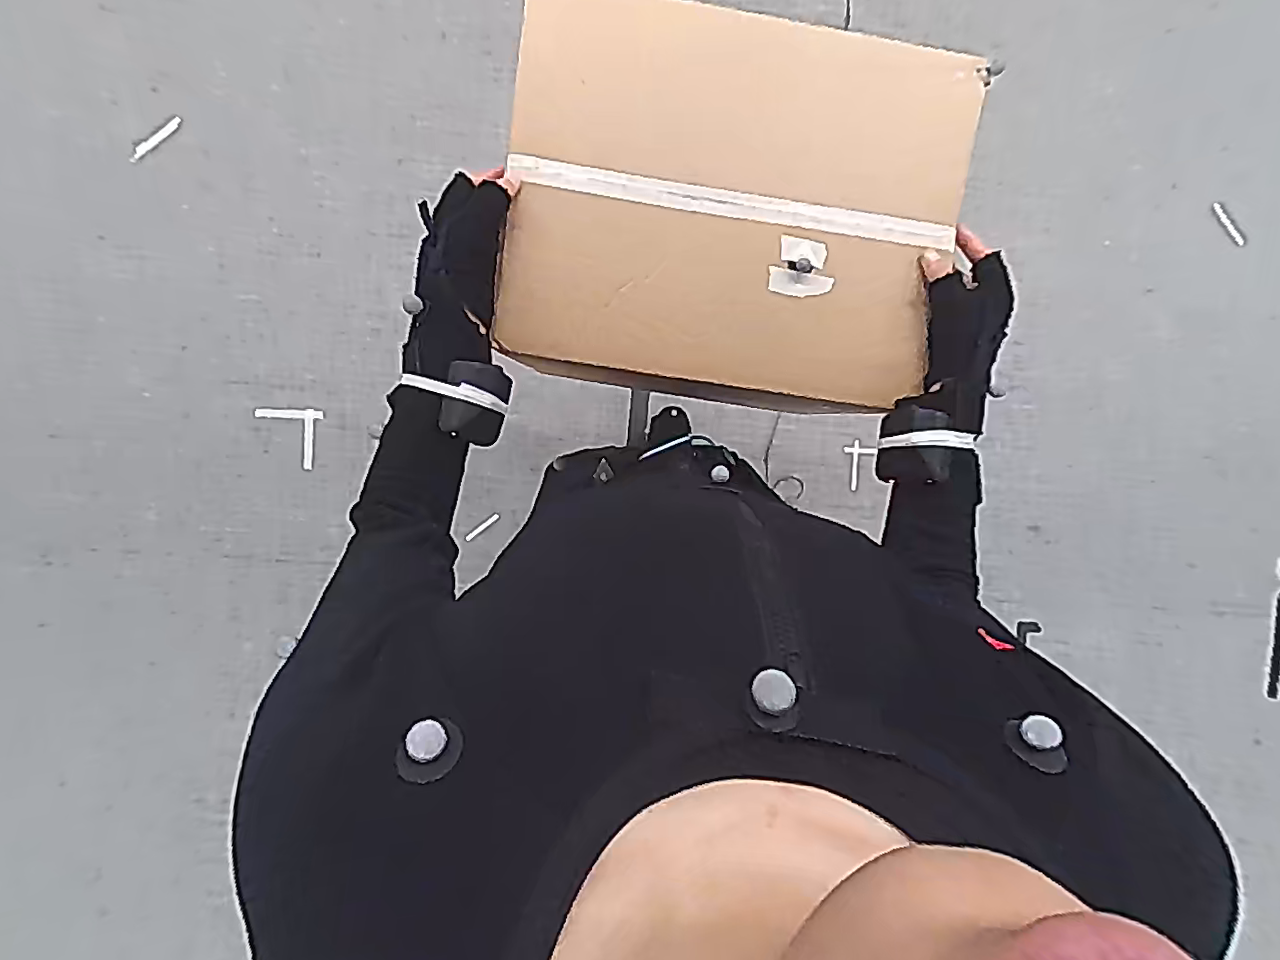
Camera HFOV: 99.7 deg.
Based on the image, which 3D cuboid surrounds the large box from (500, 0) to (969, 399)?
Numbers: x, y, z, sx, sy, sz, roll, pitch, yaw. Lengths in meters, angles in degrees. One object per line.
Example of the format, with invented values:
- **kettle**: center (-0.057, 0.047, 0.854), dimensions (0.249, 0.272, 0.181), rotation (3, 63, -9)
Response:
- **large box**: center (0.075, -0.278, 0.643), dimensions (0.408, 0.320, 0.320), rotation (8, 98, -4)
